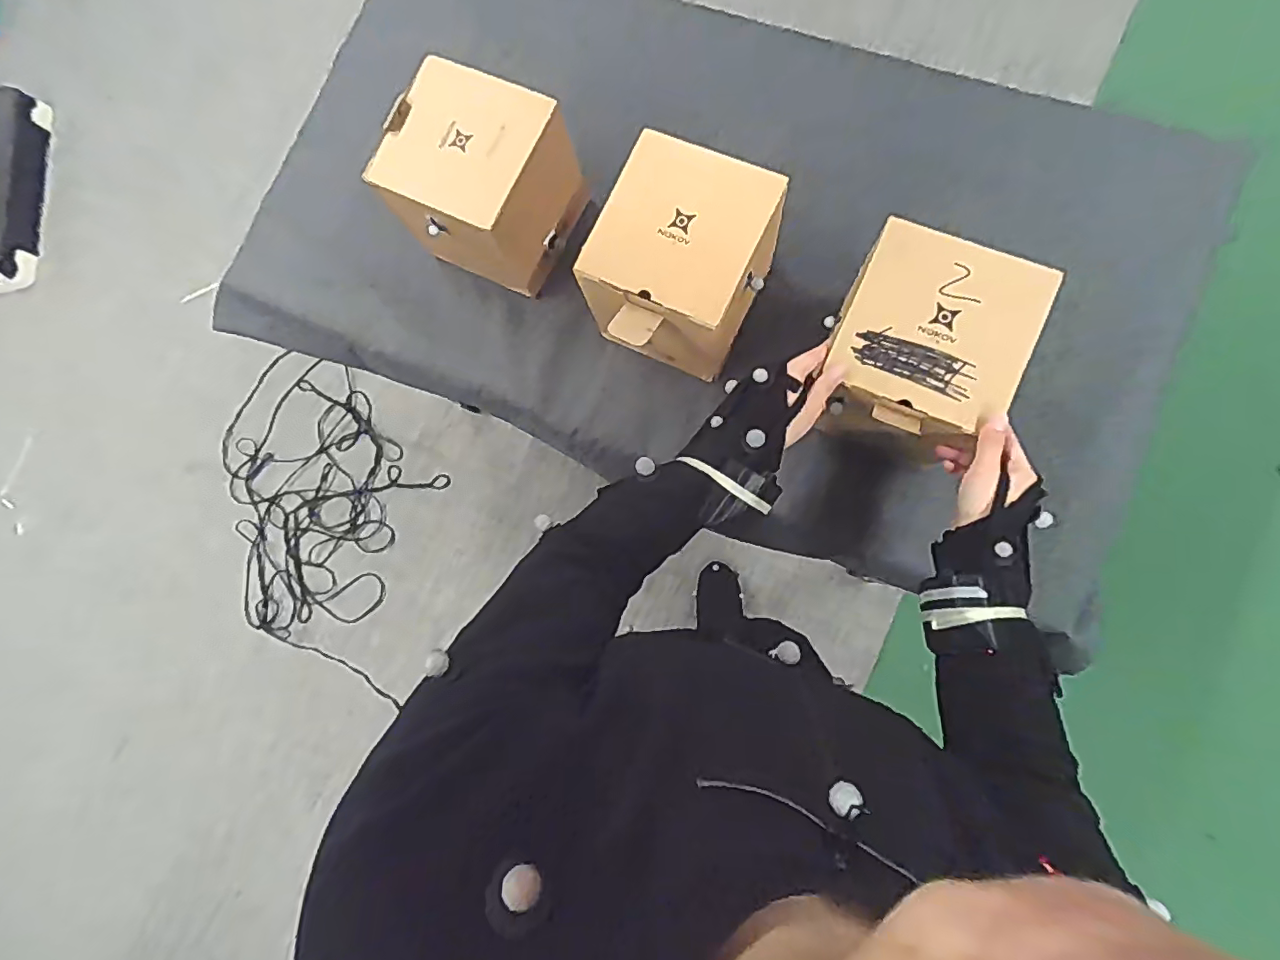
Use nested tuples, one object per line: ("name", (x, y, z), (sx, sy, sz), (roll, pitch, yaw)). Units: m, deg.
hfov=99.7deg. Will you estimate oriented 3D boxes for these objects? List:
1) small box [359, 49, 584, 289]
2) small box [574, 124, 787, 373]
("small box", (-0.193, -0.367, 0.670), (0.179, 0.176, 0.168), (27, 87, 9))
("small box", (0.048, -0.252, 0.626), (0.168, 0.176, 0.179), (25, 87, 9))
